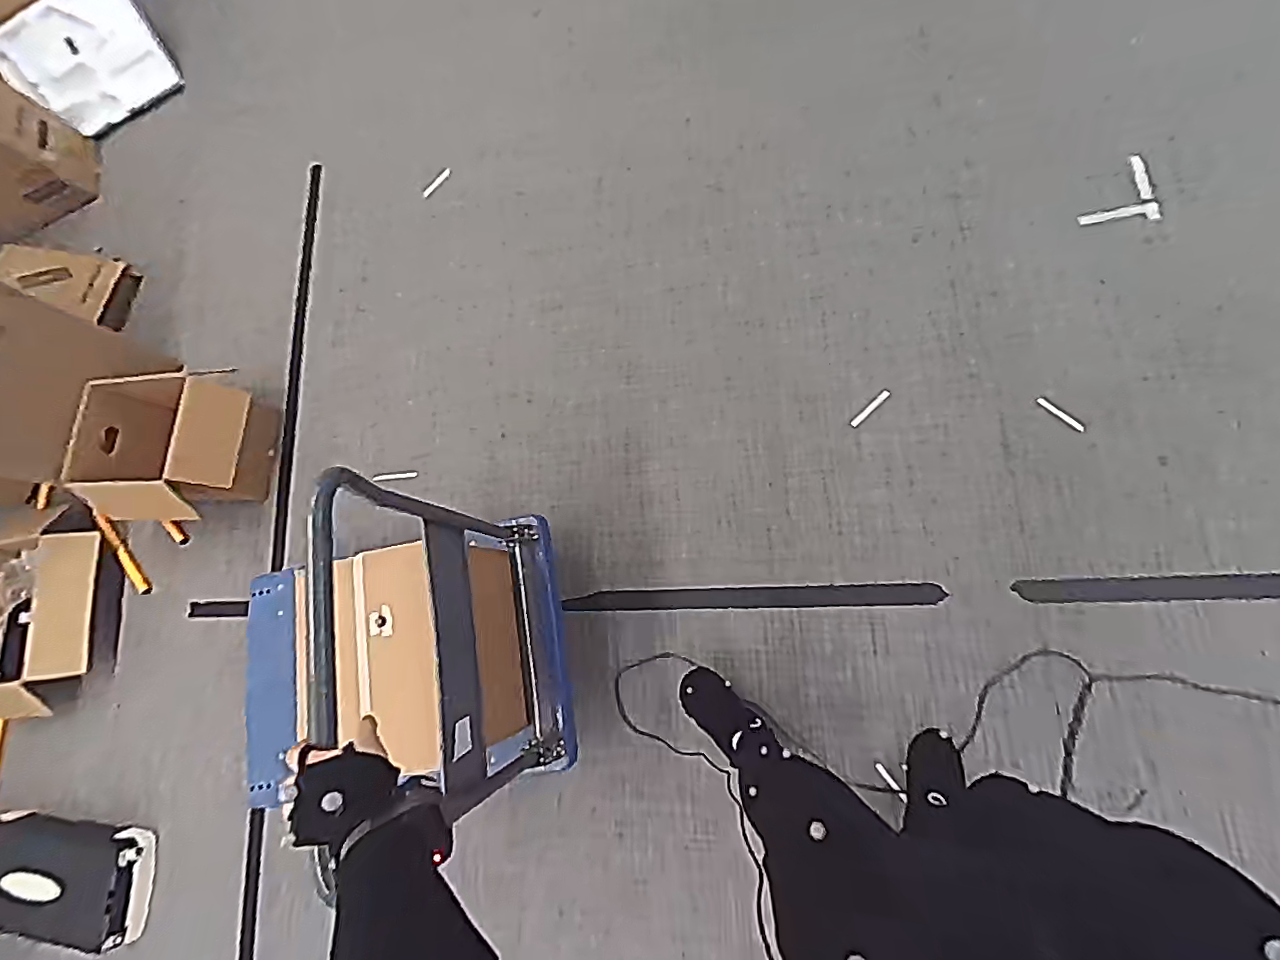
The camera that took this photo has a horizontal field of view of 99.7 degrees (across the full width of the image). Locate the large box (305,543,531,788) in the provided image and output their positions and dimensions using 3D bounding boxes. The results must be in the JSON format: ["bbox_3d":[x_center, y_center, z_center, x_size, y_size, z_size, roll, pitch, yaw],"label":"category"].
[{"bbox_3d":[-0.458,0.375,1.149,0.320,0.320,0.408,-14,74,11],"label":"large box"}]
